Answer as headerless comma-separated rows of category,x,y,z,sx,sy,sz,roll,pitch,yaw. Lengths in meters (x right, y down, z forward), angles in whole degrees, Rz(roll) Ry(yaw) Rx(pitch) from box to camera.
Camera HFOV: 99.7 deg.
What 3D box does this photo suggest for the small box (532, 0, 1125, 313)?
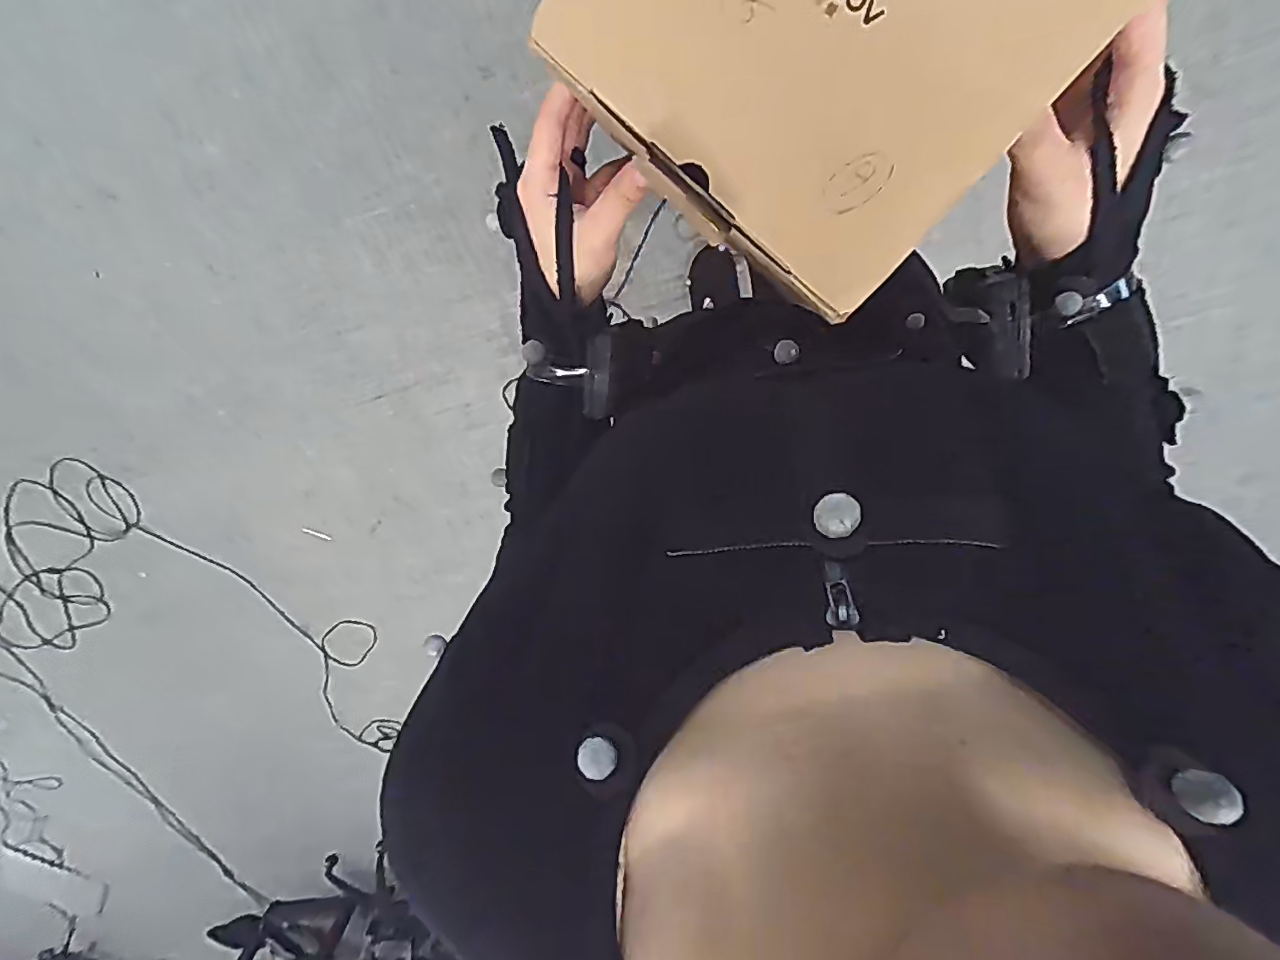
small box,0.084,-0.207,0.262,0.168,0.176,0.179,39,113,-7
